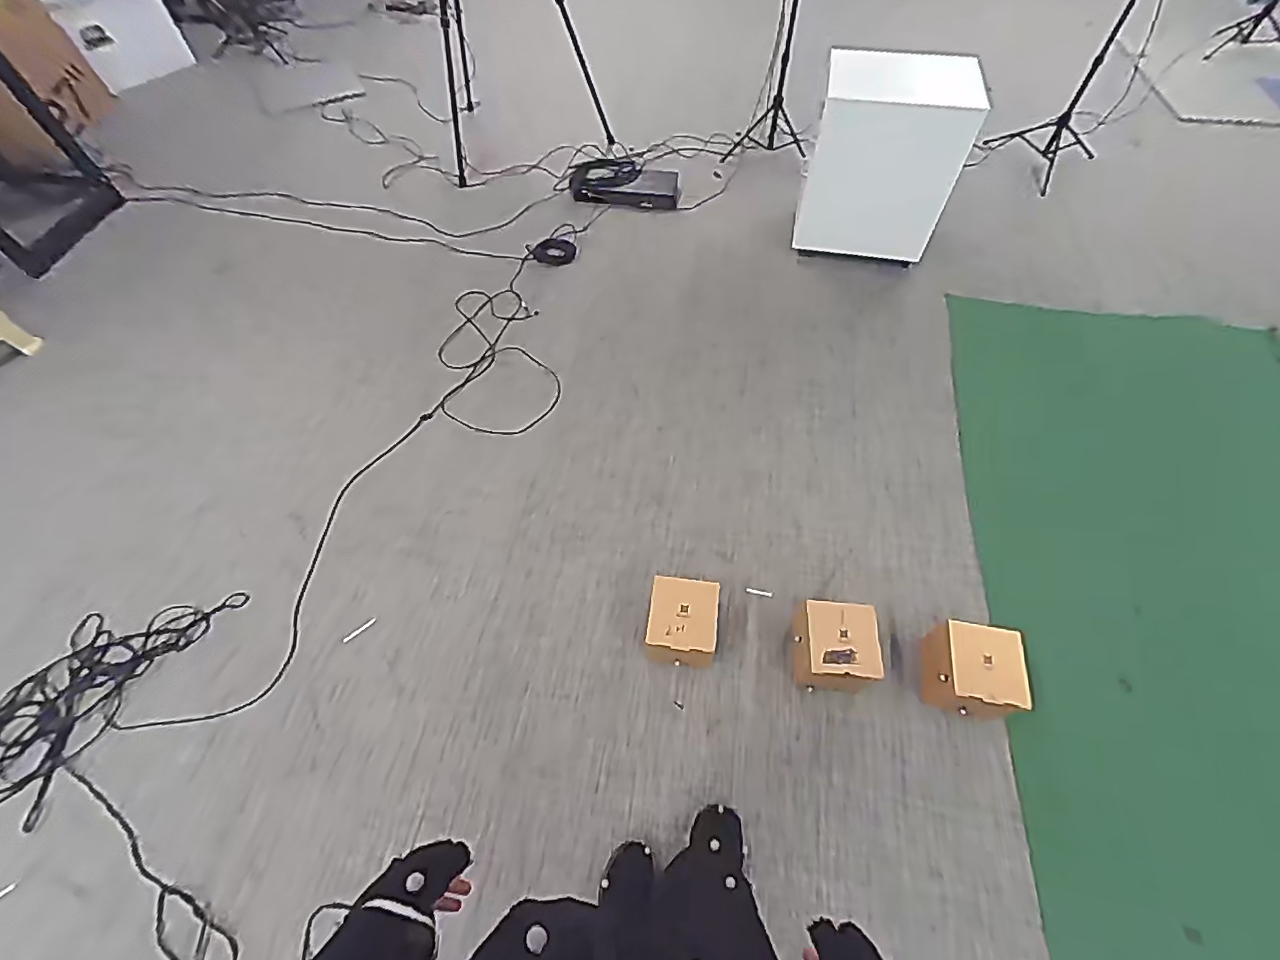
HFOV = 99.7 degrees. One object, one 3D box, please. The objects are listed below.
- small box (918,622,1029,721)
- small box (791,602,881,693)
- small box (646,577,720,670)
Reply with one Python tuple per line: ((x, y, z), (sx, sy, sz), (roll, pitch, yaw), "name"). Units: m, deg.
((0.796, 0.468, 1.312), (0.168, 0.176, 0.179), (9, 58, 7), "small box")
((0.477, 0.421, 1.344), (0.168, 0.176, 0.179), (5, 57, 3), "small box")
((0.107, 0.368, 1.379), (0.168, 0.176, 0.179), (6, 58, 6), "small box")
